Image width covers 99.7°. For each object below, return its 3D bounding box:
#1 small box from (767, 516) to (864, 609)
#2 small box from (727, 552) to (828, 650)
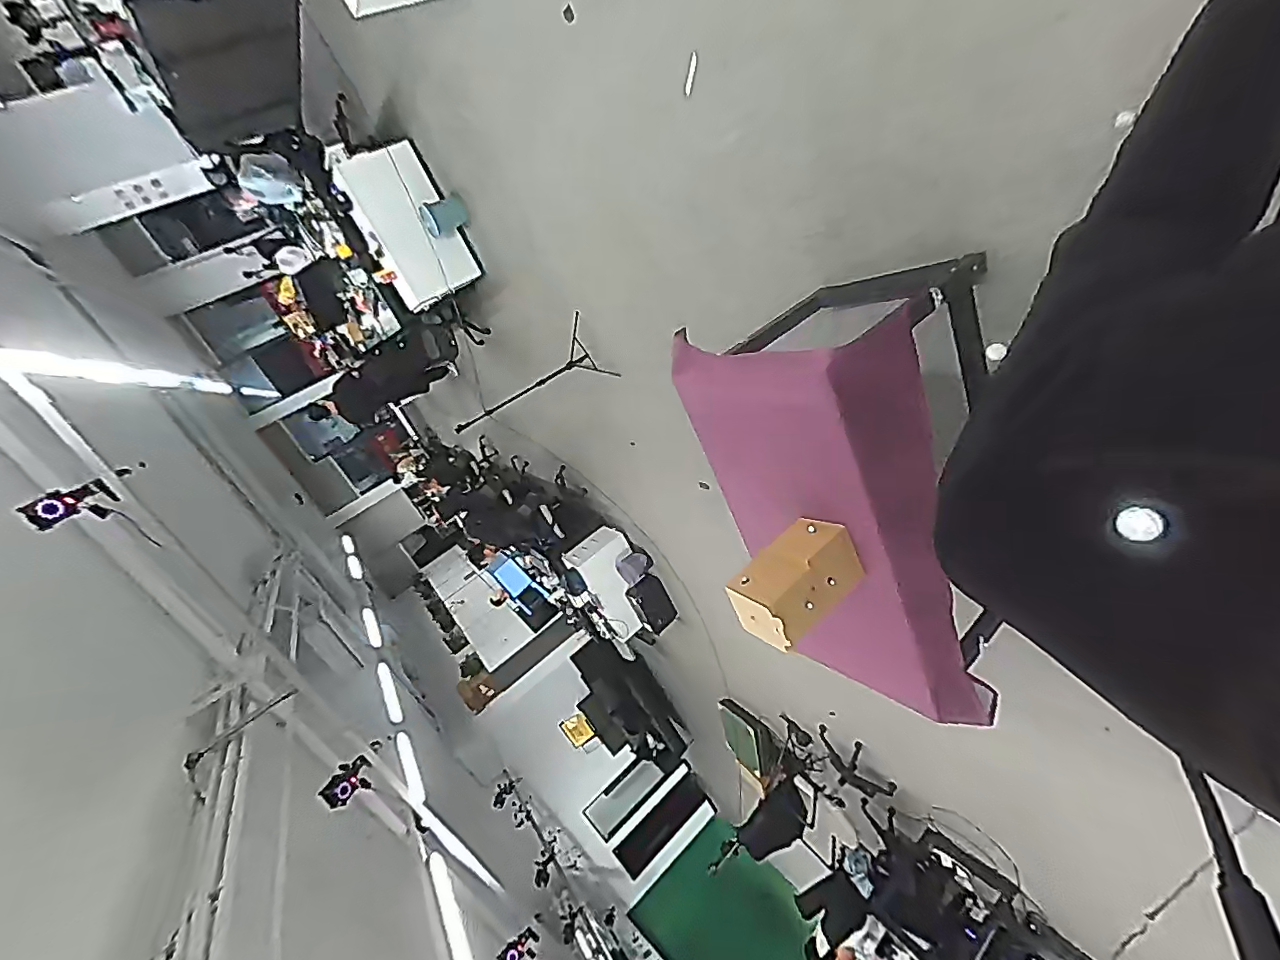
[{"bbox_3d":[0.498,0.226,1.520,0.168,0.176,0.179,8,130,61],"label":"small box"},{"bbox_3d":[0.373,0.318,1.463,0.179,0.176,0.168,16,139,57],"label":"small box"}]
